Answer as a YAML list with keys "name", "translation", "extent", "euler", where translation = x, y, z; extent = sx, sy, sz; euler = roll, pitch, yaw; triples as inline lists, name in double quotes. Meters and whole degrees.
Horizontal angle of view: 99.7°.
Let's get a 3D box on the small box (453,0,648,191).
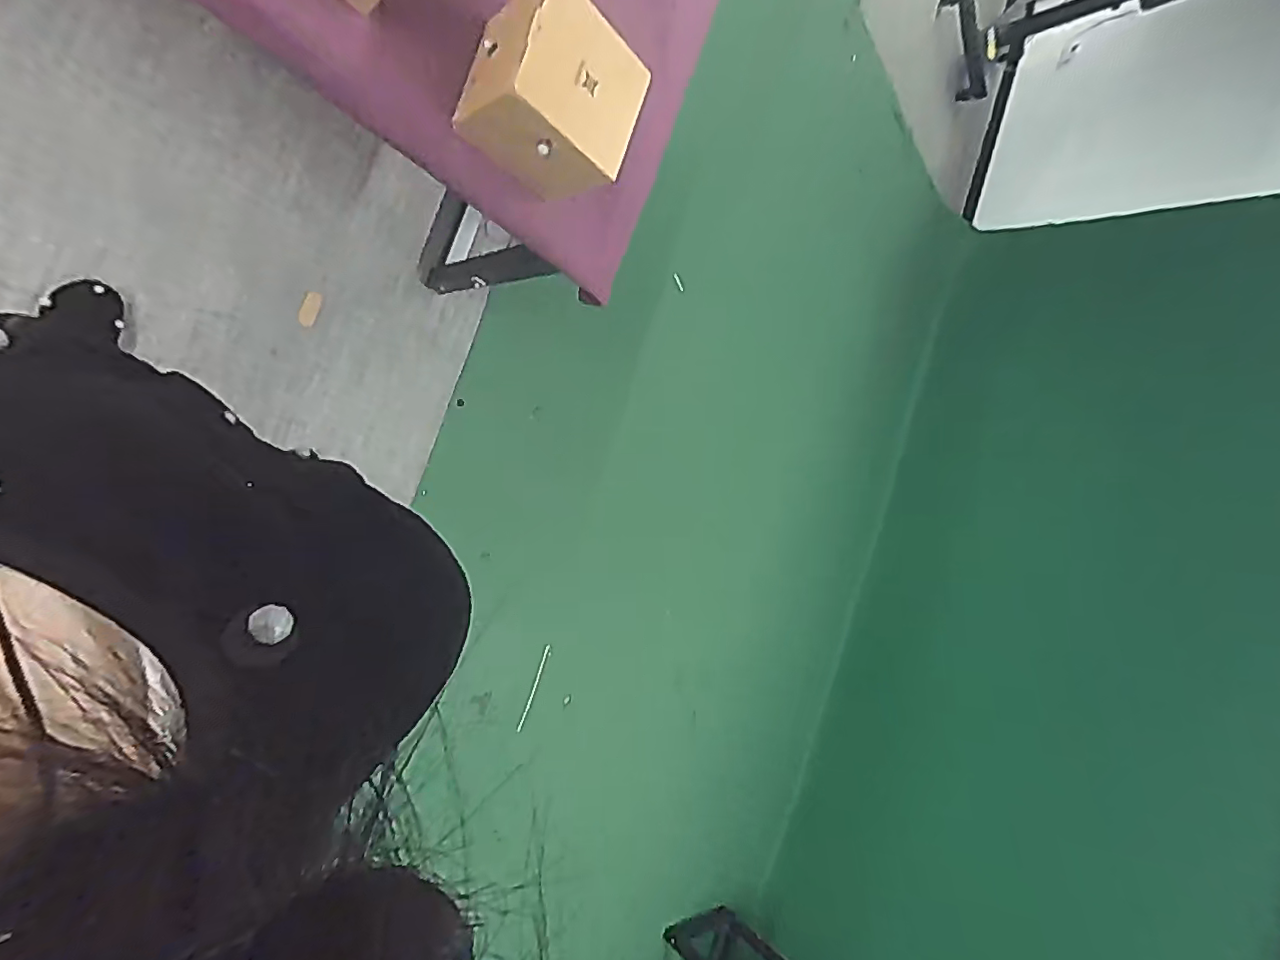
- name: "small box"
  translation: [-0.126, -0.532, 0.753]
  extent: [0.179, 0.176, 0.168]
  euler: [22, 86, -44]
